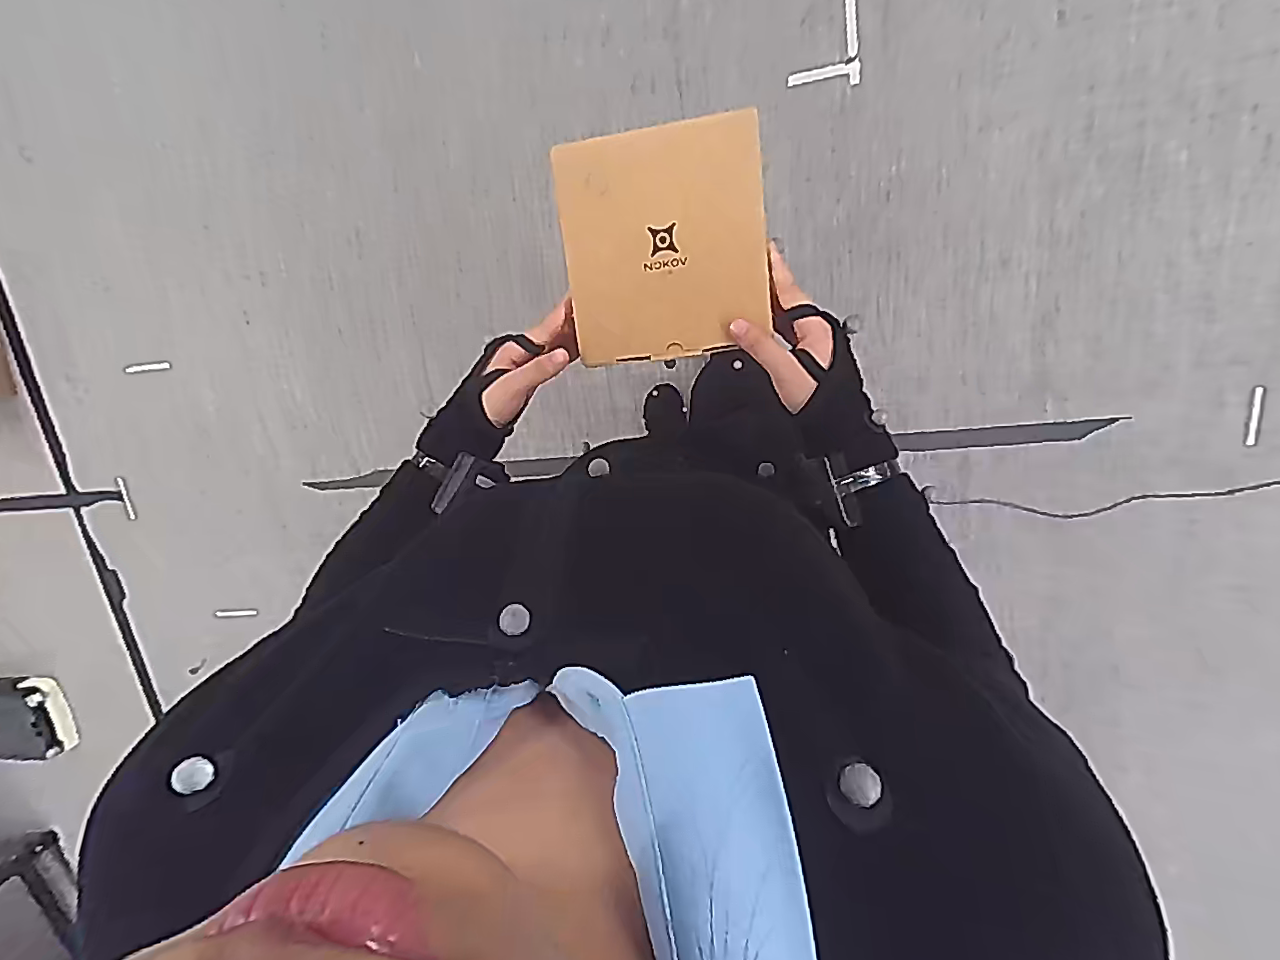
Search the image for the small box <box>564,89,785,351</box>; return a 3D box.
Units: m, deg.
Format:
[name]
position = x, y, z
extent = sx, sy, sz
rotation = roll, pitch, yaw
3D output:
[small box]
position = 0.037, -0.219, 0.507
extent = 0.168, 0.176, 0.179
rotation = -5, 103, 9
